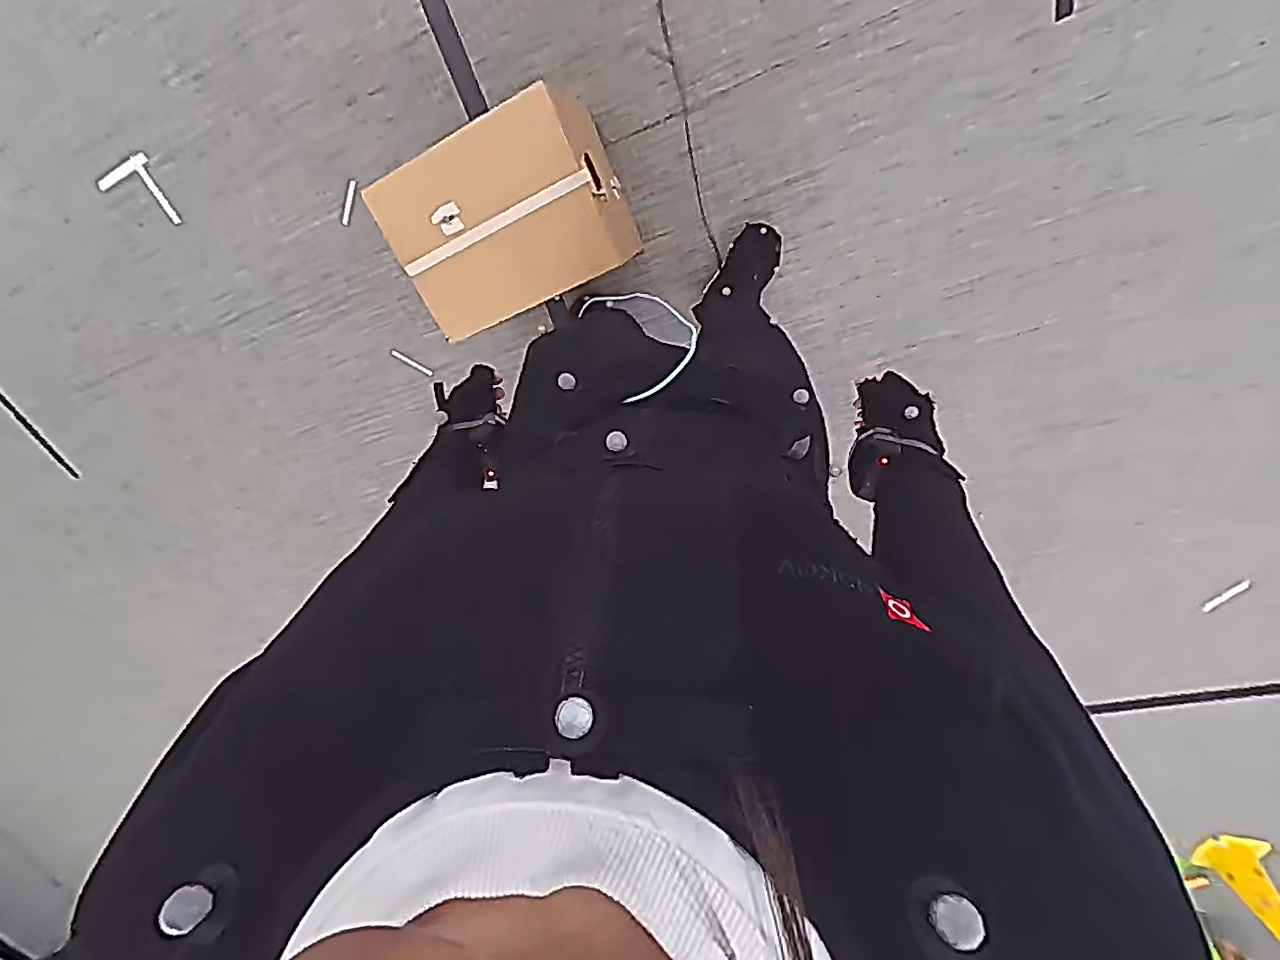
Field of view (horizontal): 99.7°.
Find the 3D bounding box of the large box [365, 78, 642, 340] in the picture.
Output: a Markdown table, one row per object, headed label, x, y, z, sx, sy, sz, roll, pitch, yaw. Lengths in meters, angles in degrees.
| label | x | y | z | sx | sy | sz | roll | pitch | yaw |
| --- | --- | --- | --- | --- | --- | --- | --- | --- | --- |
| large box | -0.253 | -0.548 | 1.128 | 0.408 | 0.320 | 0.320 | -18 | 114 | 19 |
